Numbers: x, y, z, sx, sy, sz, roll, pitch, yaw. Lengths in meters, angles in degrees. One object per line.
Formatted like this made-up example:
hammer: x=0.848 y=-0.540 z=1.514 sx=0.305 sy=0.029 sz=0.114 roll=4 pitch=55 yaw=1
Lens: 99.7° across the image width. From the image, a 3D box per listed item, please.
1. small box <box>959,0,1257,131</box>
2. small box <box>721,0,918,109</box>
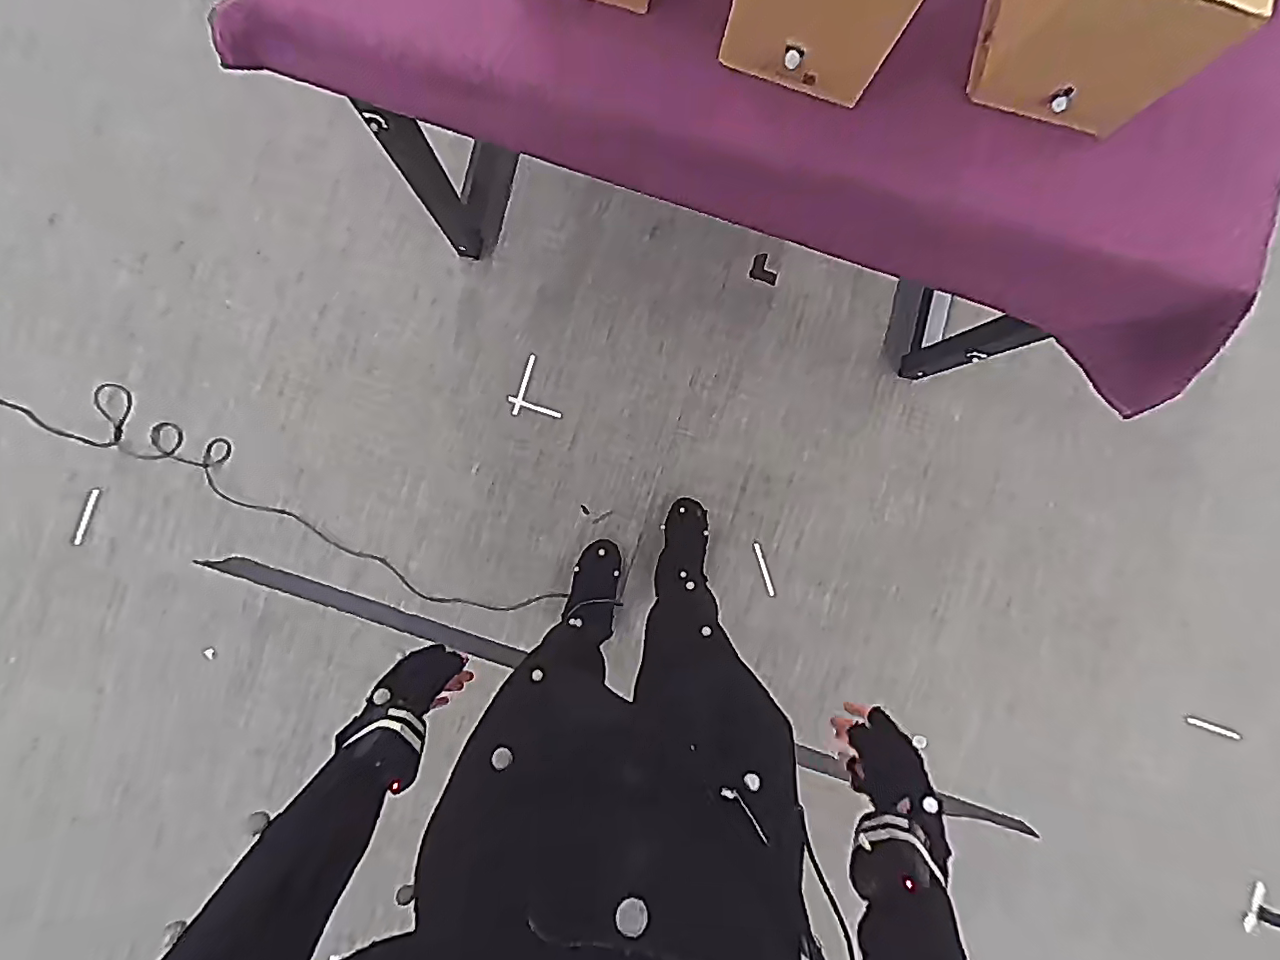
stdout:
small box: x=0.479 y=-0.505 z=0.562 sx=0.179 sy=0.176 sz=0.168 roll=12 pitch=89 yaw=-3
small box: x=0.192 y=-0.534 z=0.546 sx=0.168 sy=0.176 sz=0.179 roll=16 pitch=89 yaw=-2
